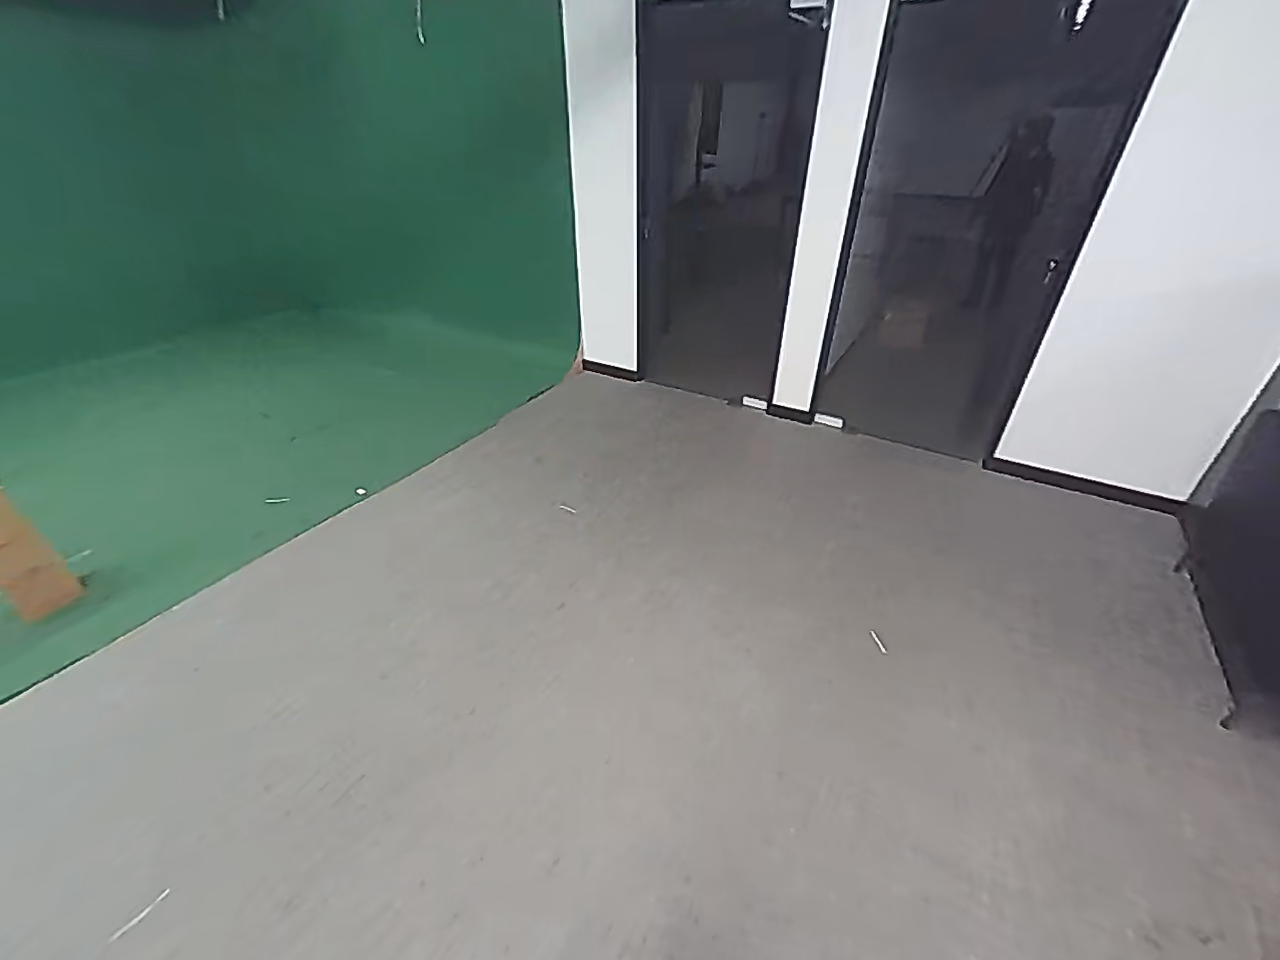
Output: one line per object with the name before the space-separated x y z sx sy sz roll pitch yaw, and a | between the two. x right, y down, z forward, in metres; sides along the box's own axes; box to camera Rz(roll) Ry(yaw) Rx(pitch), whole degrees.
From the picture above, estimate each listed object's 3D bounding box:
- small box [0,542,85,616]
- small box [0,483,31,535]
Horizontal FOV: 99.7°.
small box | -2.227 0.366 2.008 0.168 0.176 0.179 22 40 28
small box | -2.231 0.099 1.816 0.168 0.176 0.179 21 40 28
